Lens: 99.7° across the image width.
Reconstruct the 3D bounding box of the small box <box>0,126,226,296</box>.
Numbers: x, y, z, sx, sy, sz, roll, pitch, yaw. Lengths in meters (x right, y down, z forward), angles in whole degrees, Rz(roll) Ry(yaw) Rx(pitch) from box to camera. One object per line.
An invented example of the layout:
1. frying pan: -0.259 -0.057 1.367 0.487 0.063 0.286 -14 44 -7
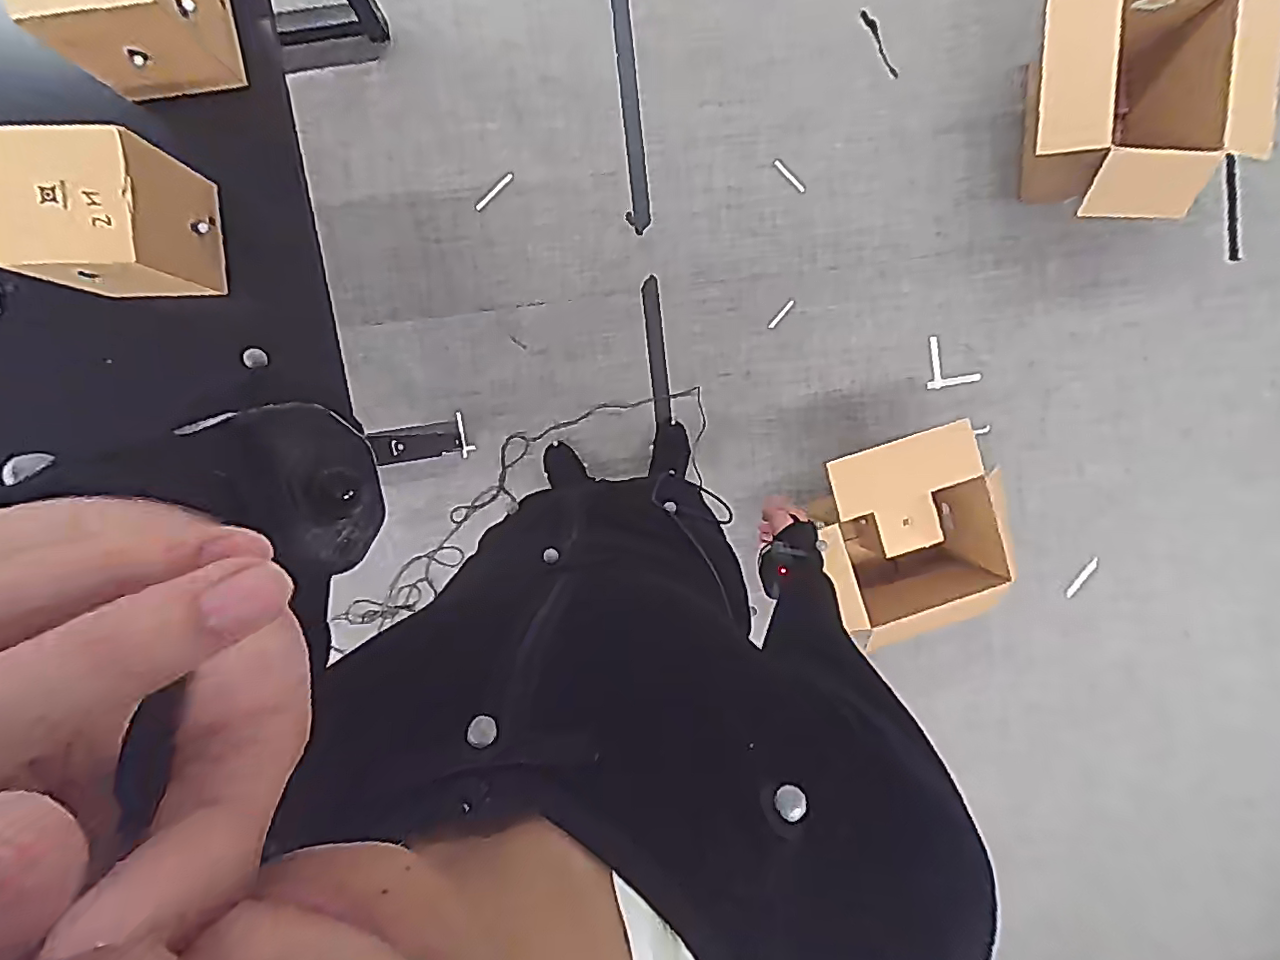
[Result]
1. small box: -0.725 -0.357 0.746 0.179 0.176 0.168 -3 96 -3
